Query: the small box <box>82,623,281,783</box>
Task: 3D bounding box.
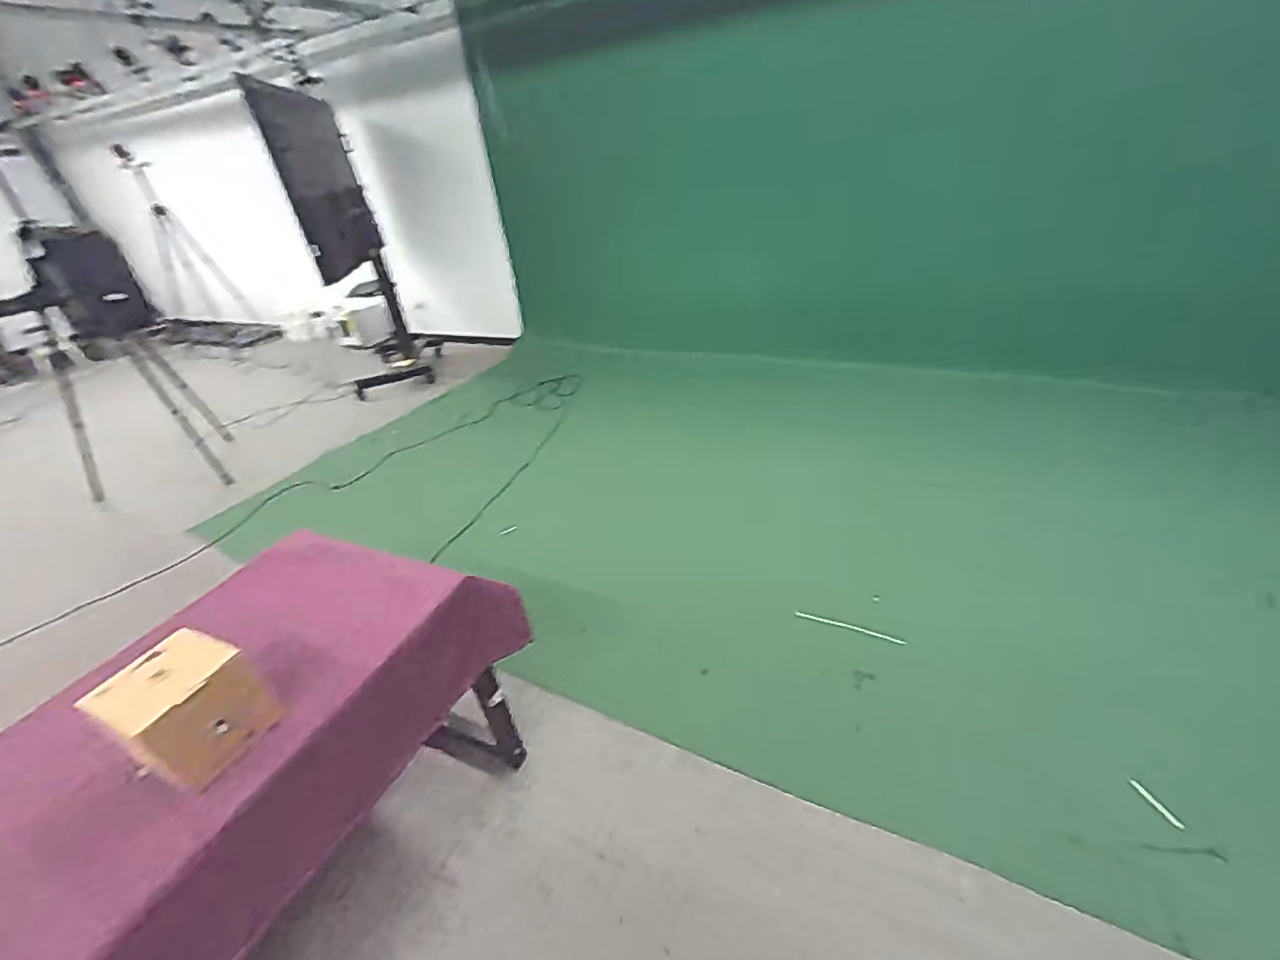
[{"bbox_3d":[-0.766,0.380,0.924,0.179,0.176,0.168,9,36,23],"label":"small box"}]
